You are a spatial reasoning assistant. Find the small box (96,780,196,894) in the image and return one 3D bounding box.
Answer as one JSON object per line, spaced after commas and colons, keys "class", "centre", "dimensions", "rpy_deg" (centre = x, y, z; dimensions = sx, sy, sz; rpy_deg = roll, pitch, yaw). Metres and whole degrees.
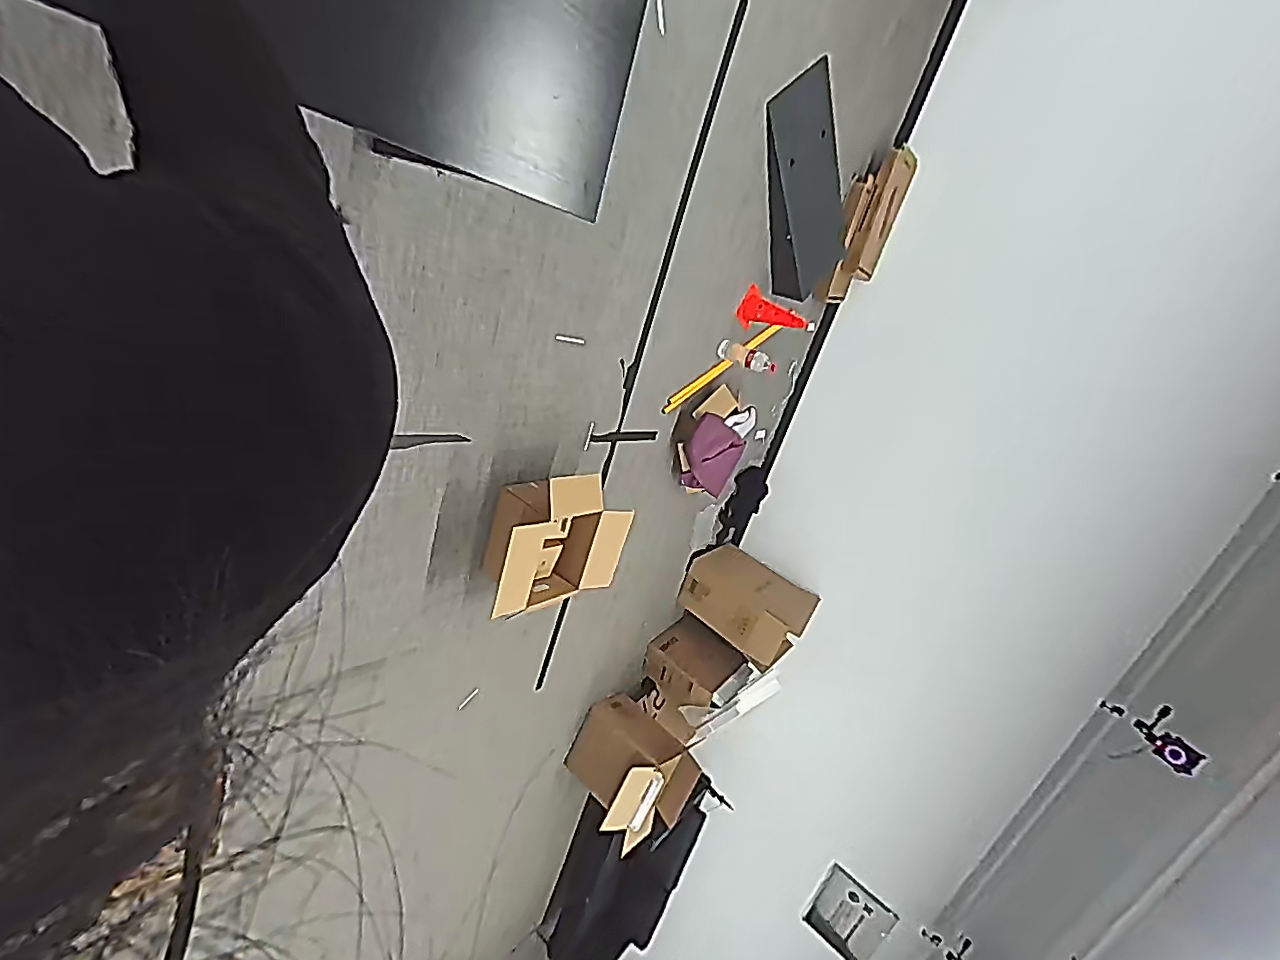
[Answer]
{"class": "small box", "centre": [-1.407, 1.004, 1.541], "dimensions": [0.179, 0.176, 0.168], "rpy_deg": [-2, 115, -53]}
